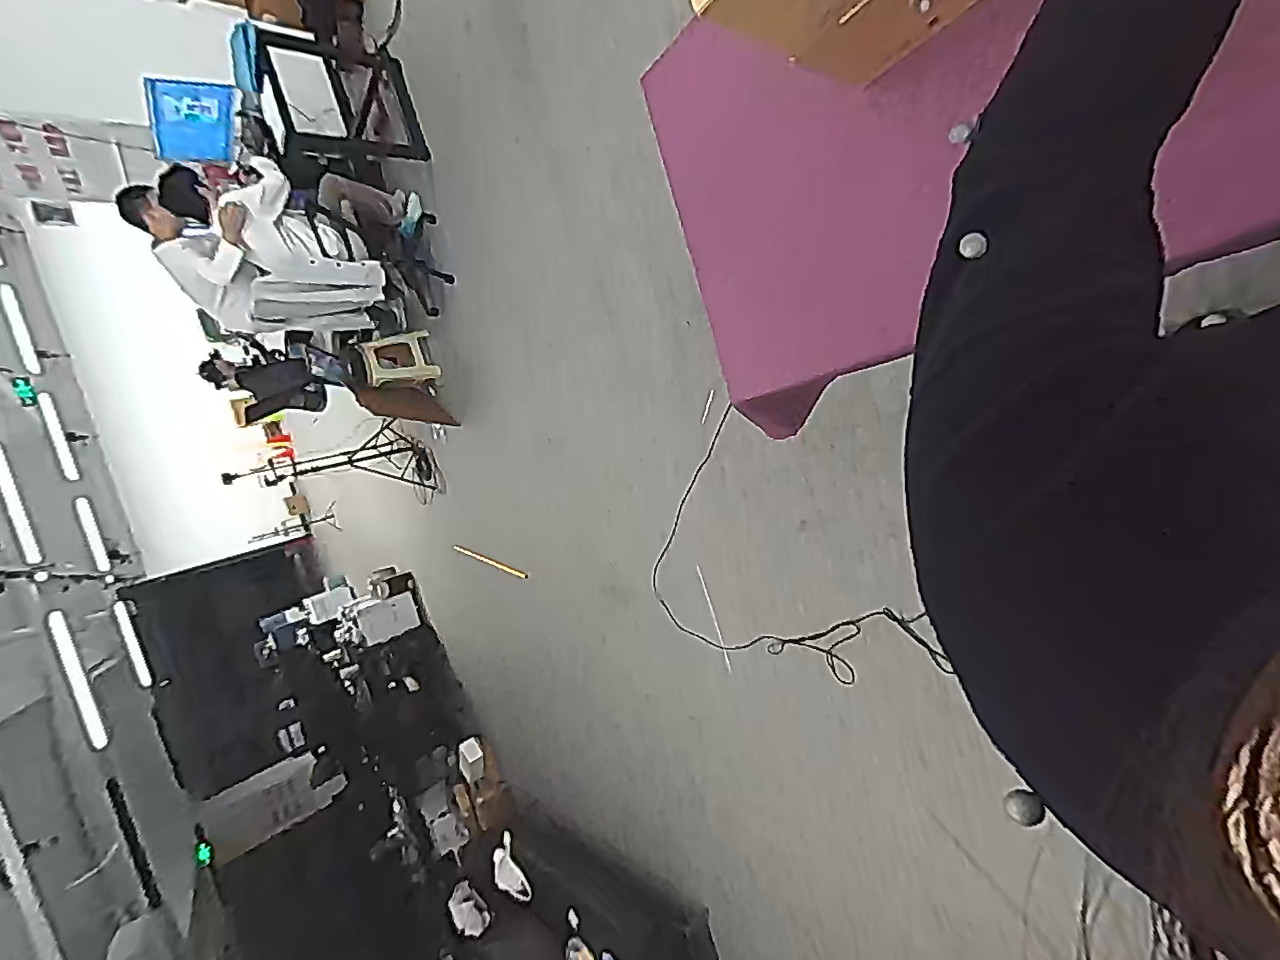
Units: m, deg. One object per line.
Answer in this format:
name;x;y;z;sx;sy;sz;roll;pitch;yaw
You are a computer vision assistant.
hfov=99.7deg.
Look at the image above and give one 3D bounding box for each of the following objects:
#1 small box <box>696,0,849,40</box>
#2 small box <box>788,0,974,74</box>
small box;0.142;-0.545;0.487;0.168;0.176;0.179;-12;96;50
small box;0.259;-0.589;0.594;0.168;0.176;0.179;-12;95;51
